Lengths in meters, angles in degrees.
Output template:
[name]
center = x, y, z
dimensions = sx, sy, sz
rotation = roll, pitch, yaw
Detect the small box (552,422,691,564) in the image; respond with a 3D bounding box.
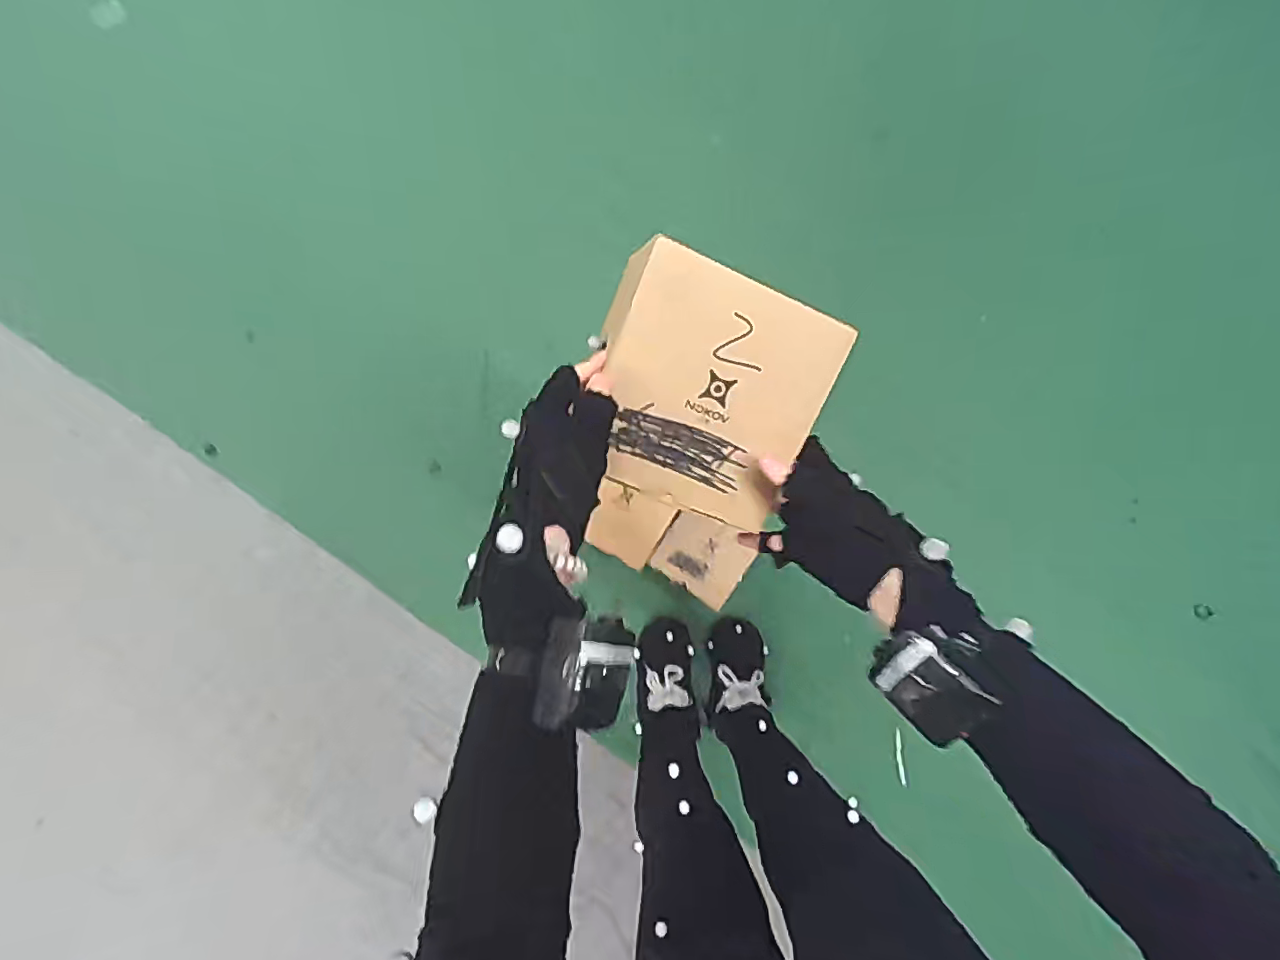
[small box]
center = -0.034, 0.021, 0.945
dimensions = 0.168, 0.176, 0.179
rotation = 32, 88, -1
